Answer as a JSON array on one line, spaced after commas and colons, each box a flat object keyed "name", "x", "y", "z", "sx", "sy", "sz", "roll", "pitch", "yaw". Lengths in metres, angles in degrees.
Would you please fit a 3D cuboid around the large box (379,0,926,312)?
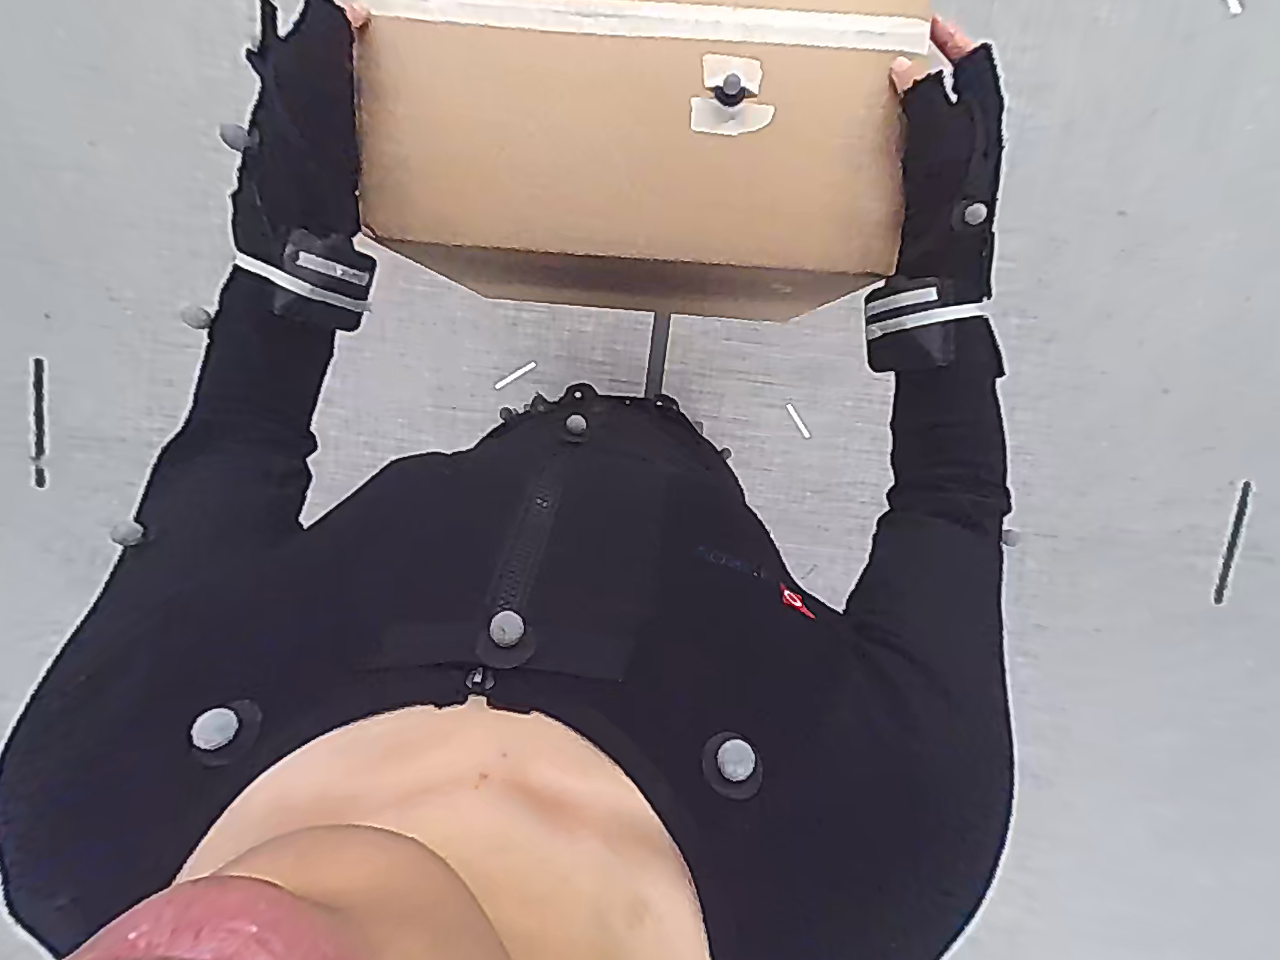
[{"name": "large box", "x": 0.006, "y": -0.356, "z": 0.542, "sx": 0.408, "sy": 0.320, "sz": 0.320, "roll": 4, "pitch": 101, "yaw": -1}]

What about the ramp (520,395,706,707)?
[{"name": "ramp", "x": -0.106, "y": 0.260, "z": 1.620, "sx": 0.509, "sy": 0.206, "sz": 0.991, "roll": 4, "pitch": 99, "yaw": -1}]
